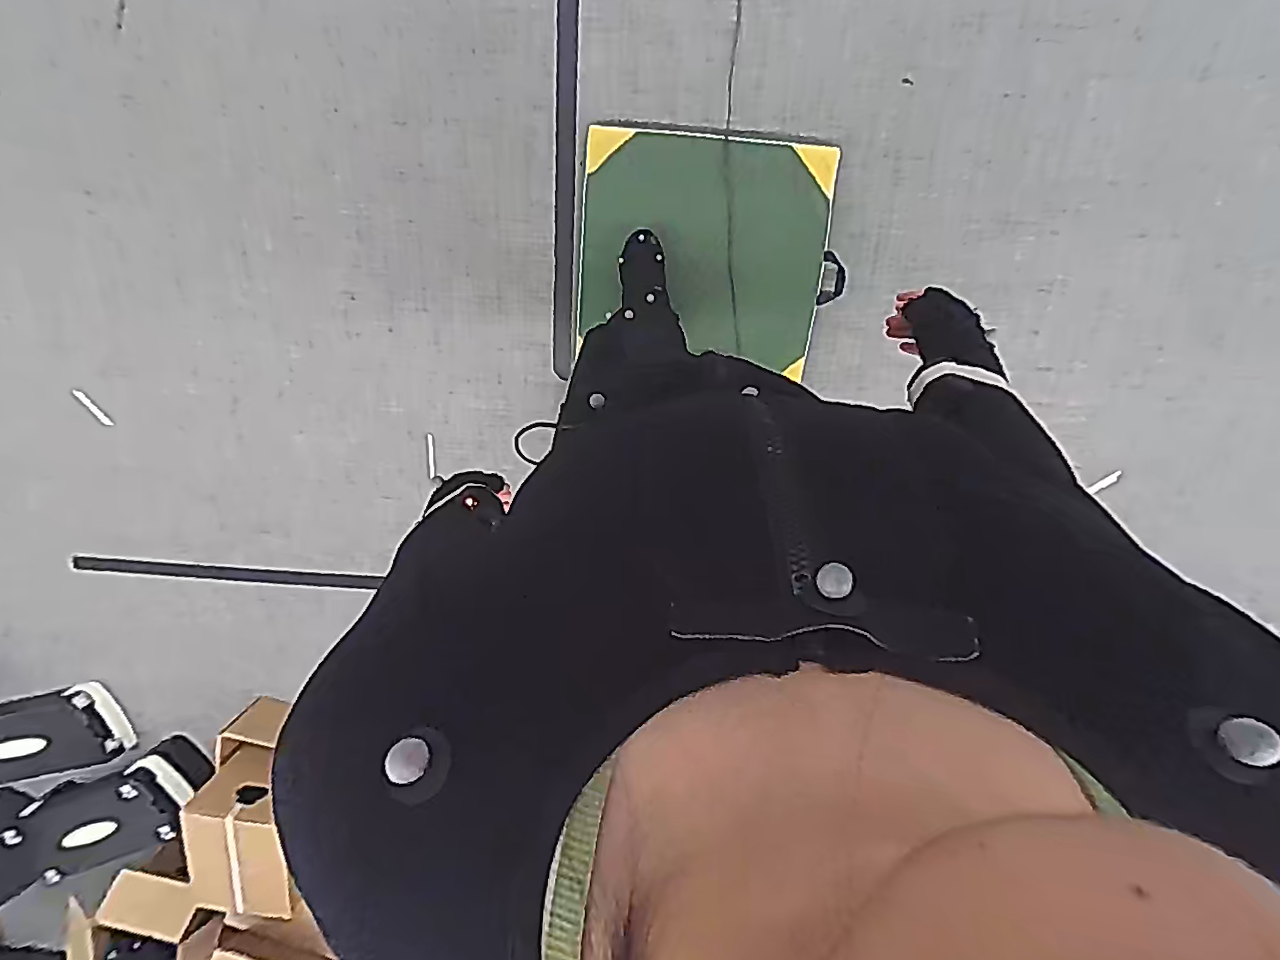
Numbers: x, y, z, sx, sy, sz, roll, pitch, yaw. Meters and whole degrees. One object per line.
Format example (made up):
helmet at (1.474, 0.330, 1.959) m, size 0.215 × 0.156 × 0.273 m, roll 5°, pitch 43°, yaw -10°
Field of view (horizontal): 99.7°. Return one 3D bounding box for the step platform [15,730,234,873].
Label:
step platform at (-1.873, 1.171, 1.966) m, size 0.684 × 0.204 × 0.286 m, roll -24°, pitch 105°, yaw 10°
